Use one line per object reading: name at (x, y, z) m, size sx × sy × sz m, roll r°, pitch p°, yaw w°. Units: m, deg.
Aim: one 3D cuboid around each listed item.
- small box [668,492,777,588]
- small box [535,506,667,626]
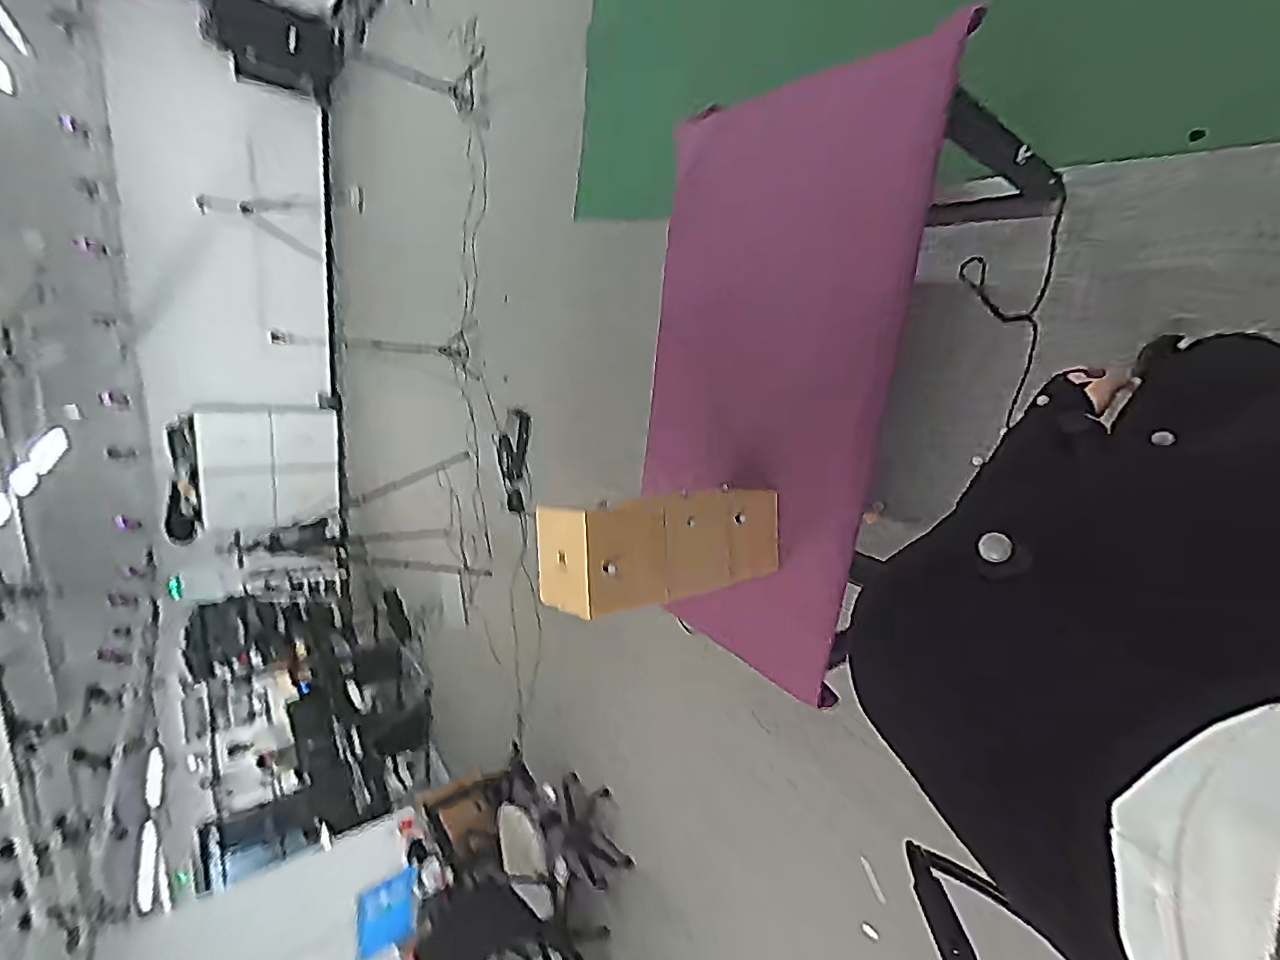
small box at (0.179, 0.118, 1.167) m, size 0.168 × 0.176 × 0.179 m, roll 2°, pitch 96°, yaw 51°
small box at (-0.068, 0.139, 0.954) m, size 0.168 × 0.176 × 0.179 m, roll -1°, pitch 93°, yaw 50°
